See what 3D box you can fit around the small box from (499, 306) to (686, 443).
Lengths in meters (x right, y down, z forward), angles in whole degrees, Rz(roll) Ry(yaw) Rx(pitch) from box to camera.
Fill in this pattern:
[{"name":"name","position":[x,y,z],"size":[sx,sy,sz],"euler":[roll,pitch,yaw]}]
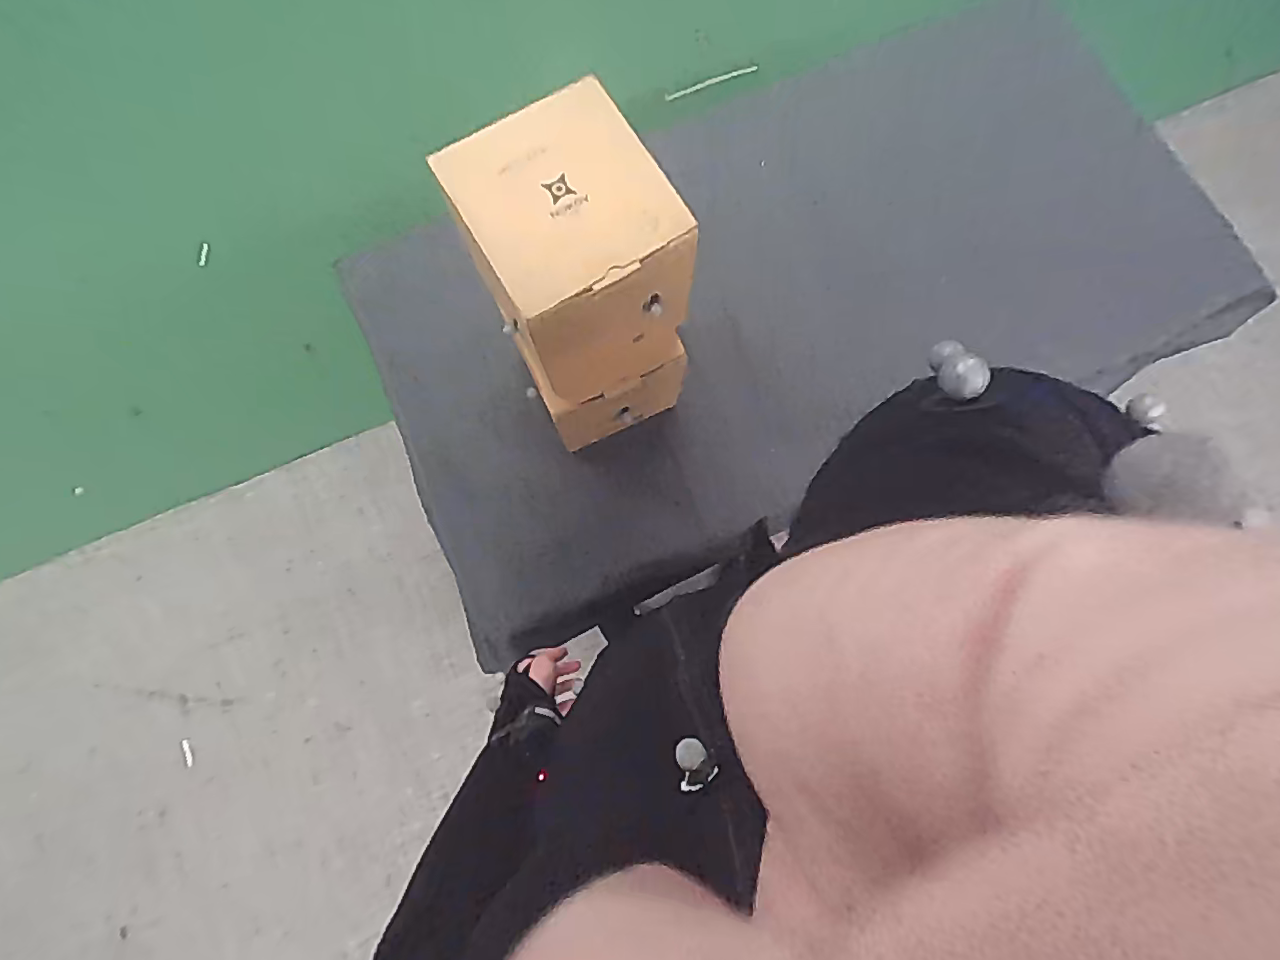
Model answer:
[{"name":"small box","position":[-0.057,-0.159,0.679],"size":[0.168,0.176,0.179],"euler":[-26,81,-6]}]

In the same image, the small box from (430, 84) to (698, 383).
[{"name":"small box","position":[-0.064,-0.216,0.524],"size":[0.168,0.176,0.179],"euler":[-32,80,-7]}]
